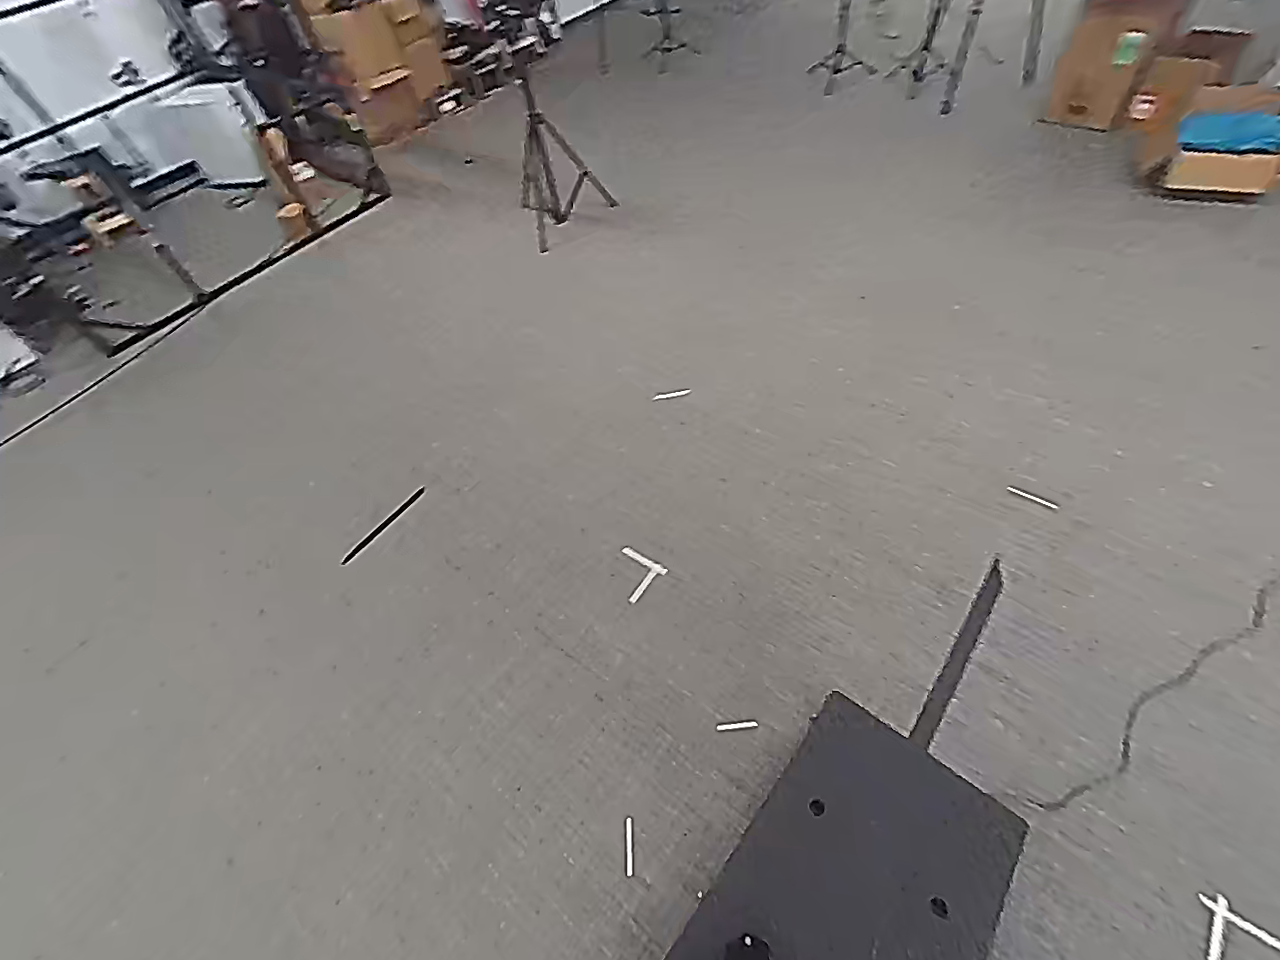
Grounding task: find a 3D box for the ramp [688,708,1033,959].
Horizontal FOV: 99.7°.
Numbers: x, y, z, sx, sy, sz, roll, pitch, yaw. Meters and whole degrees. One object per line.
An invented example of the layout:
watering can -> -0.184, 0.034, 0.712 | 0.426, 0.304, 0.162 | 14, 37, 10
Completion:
ramp -> 0.404, 0.980, 1.092 | 0.509, 0.206, 0.991 | 26, 60, 29
